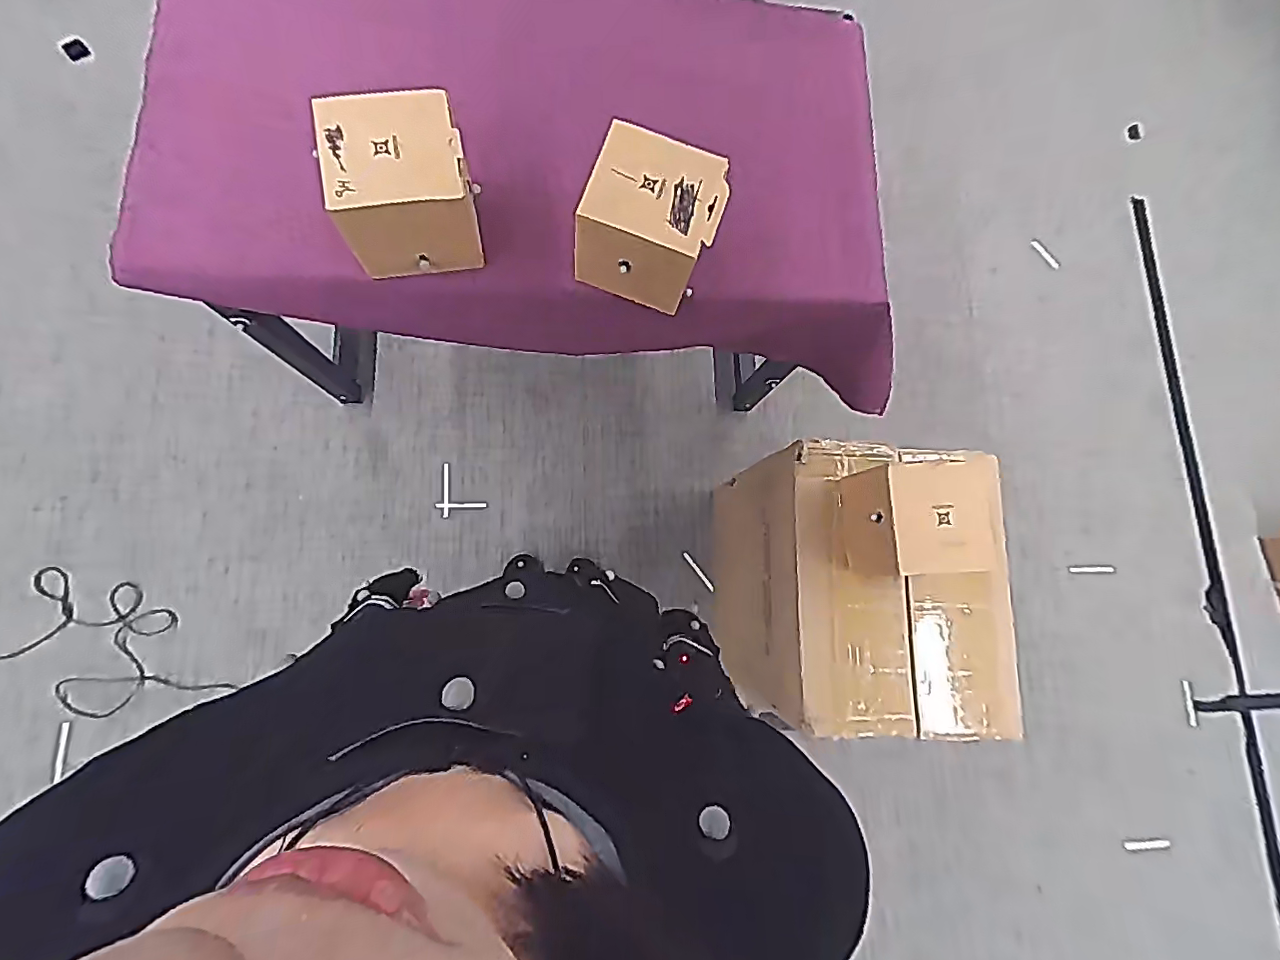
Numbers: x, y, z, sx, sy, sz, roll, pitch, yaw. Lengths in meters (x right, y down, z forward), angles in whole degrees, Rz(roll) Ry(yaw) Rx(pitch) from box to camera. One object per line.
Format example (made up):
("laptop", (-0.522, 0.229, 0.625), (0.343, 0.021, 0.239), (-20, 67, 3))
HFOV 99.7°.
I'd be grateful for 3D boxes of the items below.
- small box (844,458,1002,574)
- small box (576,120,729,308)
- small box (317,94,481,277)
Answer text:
("small box", (0.460, 0.066, 0.907), (0.168, 0.176, 0.179), (-2, 82, -5))
("small box", (0.012, -0.389, 0.825), (0.179, 0.176, 0.168), (20, 78, -2))
("small box", (-0.336, -0.419, 0.787), (0.179, 0.176, 0.168), (-10, 81, -10))
